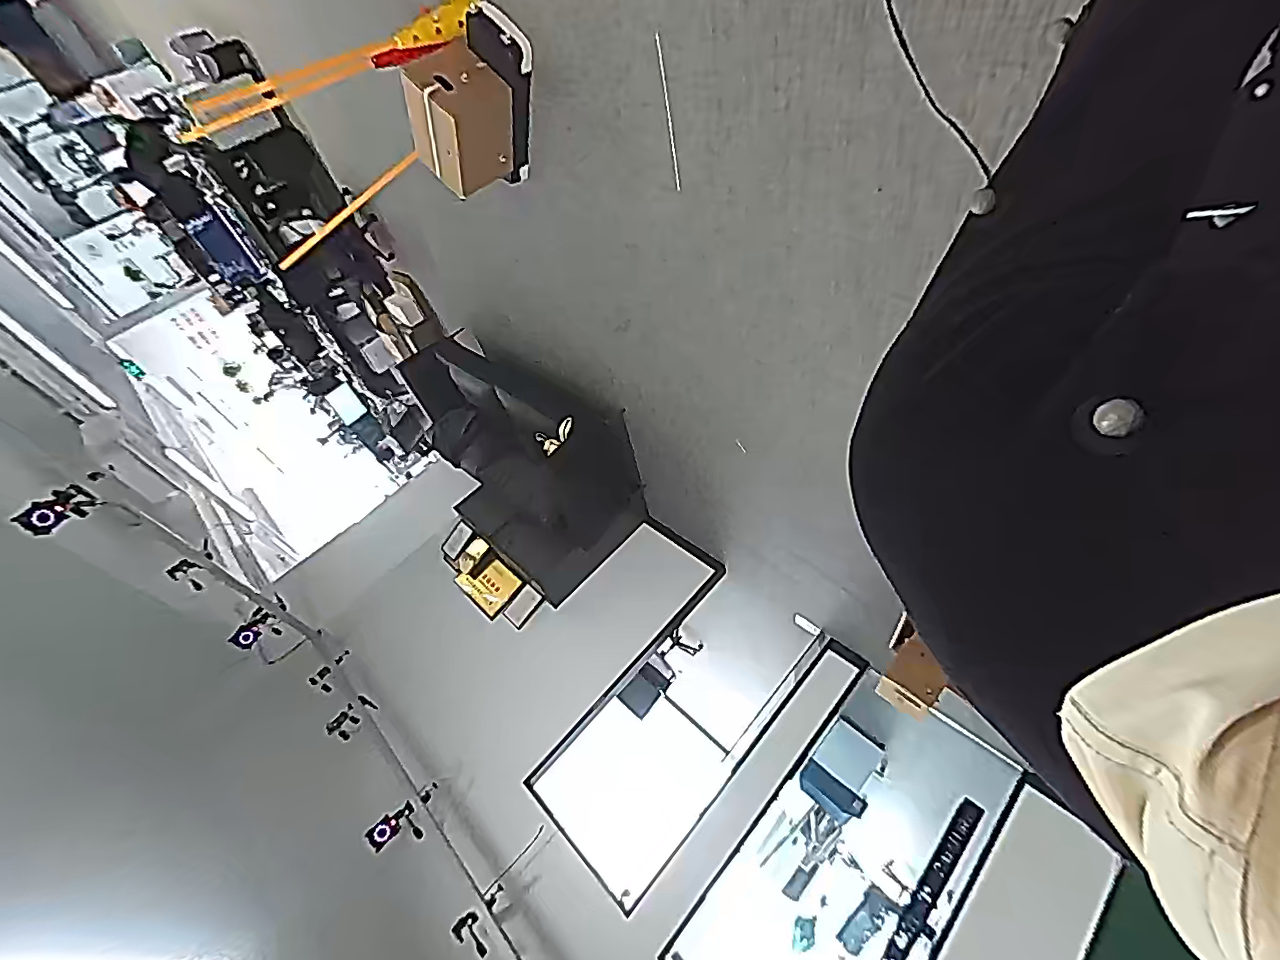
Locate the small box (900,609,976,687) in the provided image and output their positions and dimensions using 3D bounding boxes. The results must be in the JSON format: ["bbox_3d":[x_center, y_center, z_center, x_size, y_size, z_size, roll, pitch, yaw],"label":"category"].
[{"bbox_3d":[1.068,0.599,1.937,0.168,0.176,0.179,34,154,32],"label":"small box"}]
